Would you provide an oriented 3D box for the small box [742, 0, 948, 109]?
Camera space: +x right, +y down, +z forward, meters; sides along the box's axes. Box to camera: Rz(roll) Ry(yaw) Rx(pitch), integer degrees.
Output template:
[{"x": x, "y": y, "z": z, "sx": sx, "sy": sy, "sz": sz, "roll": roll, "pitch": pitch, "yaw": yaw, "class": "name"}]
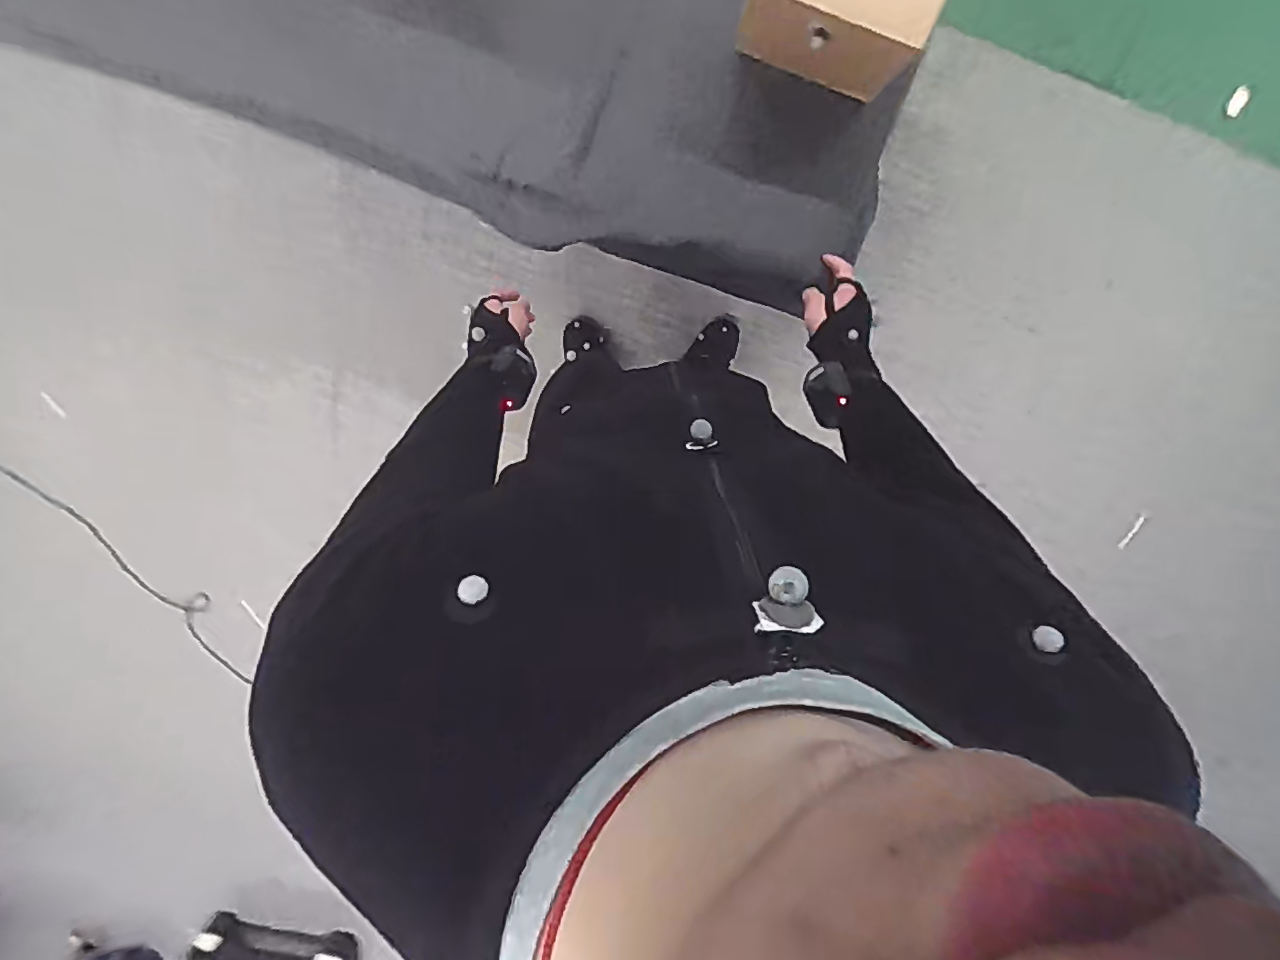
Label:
[{"x": 0.220, "y": -0.524, "z": 0.563, "sx": 0.179, "sy": 0.176, "sz": 0.168, "roll": 20, "pitch": 111, "yaw": -4, "class": "small box"}]
